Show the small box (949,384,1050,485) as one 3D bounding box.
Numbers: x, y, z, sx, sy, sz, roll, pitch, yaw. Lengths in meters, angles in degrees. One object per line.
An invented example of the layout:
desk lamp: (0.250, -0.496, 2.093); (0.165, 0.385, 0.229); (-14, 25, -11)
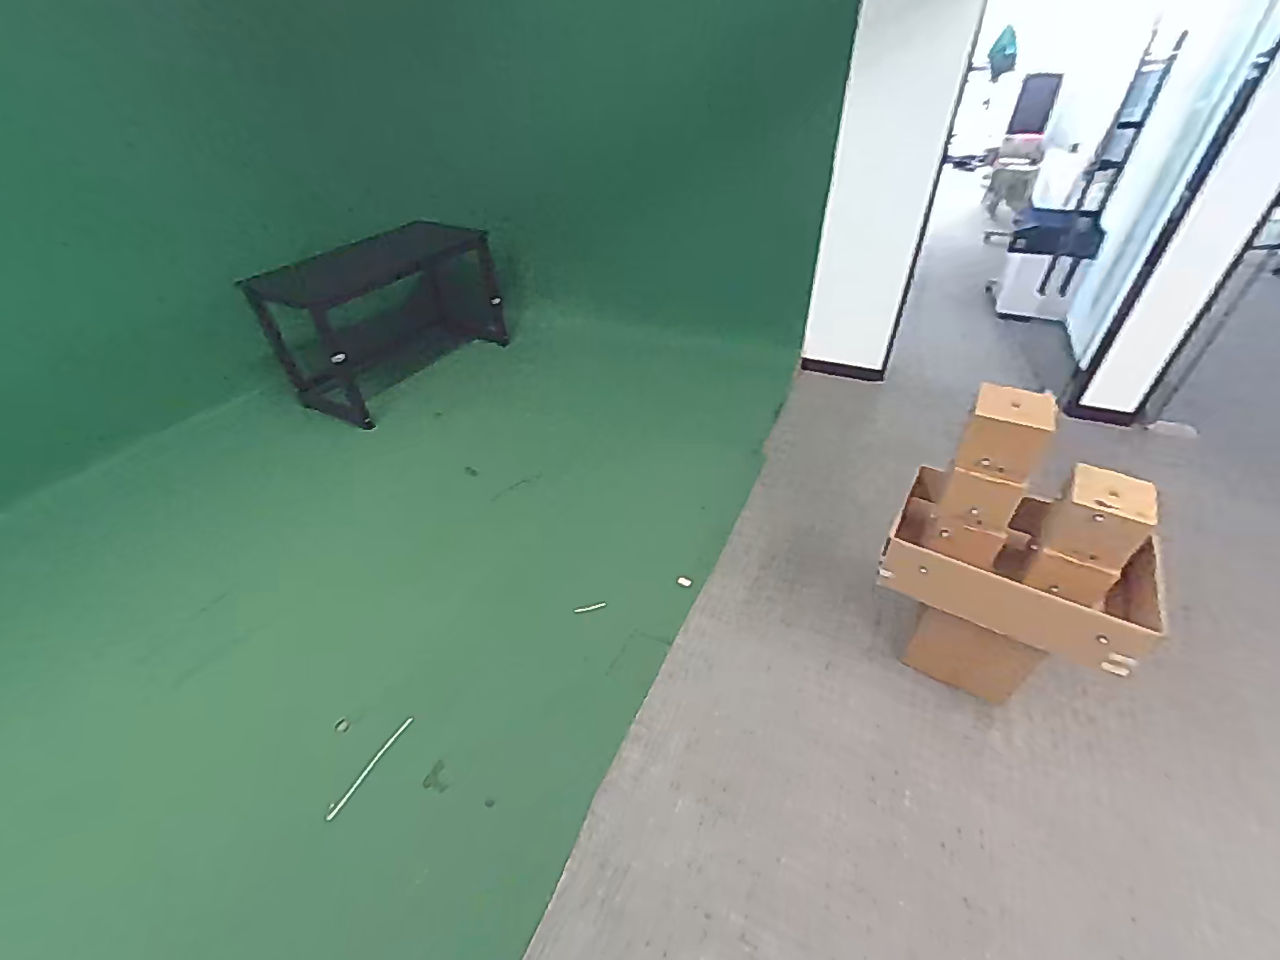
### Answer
small box: (0.916, -0.118, 1.383); (0.168, 0.176, 0.179); (20, 45, 24)

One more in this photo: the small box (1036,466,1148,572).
small box: (1.146, 0.098, 1.379); (0.168, 0.176, 0.179); (23, 47, 26)

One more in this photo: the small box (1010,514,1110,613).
small box: (1.146, 0.227, 1.482); (0.168, 0.176, 0.179); (21, 47, 24)

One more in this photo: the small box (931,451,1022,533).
small box: (0.919, 0.013, 1.481); (0.168, 0.176, 0.179); (19, 45, 23)
